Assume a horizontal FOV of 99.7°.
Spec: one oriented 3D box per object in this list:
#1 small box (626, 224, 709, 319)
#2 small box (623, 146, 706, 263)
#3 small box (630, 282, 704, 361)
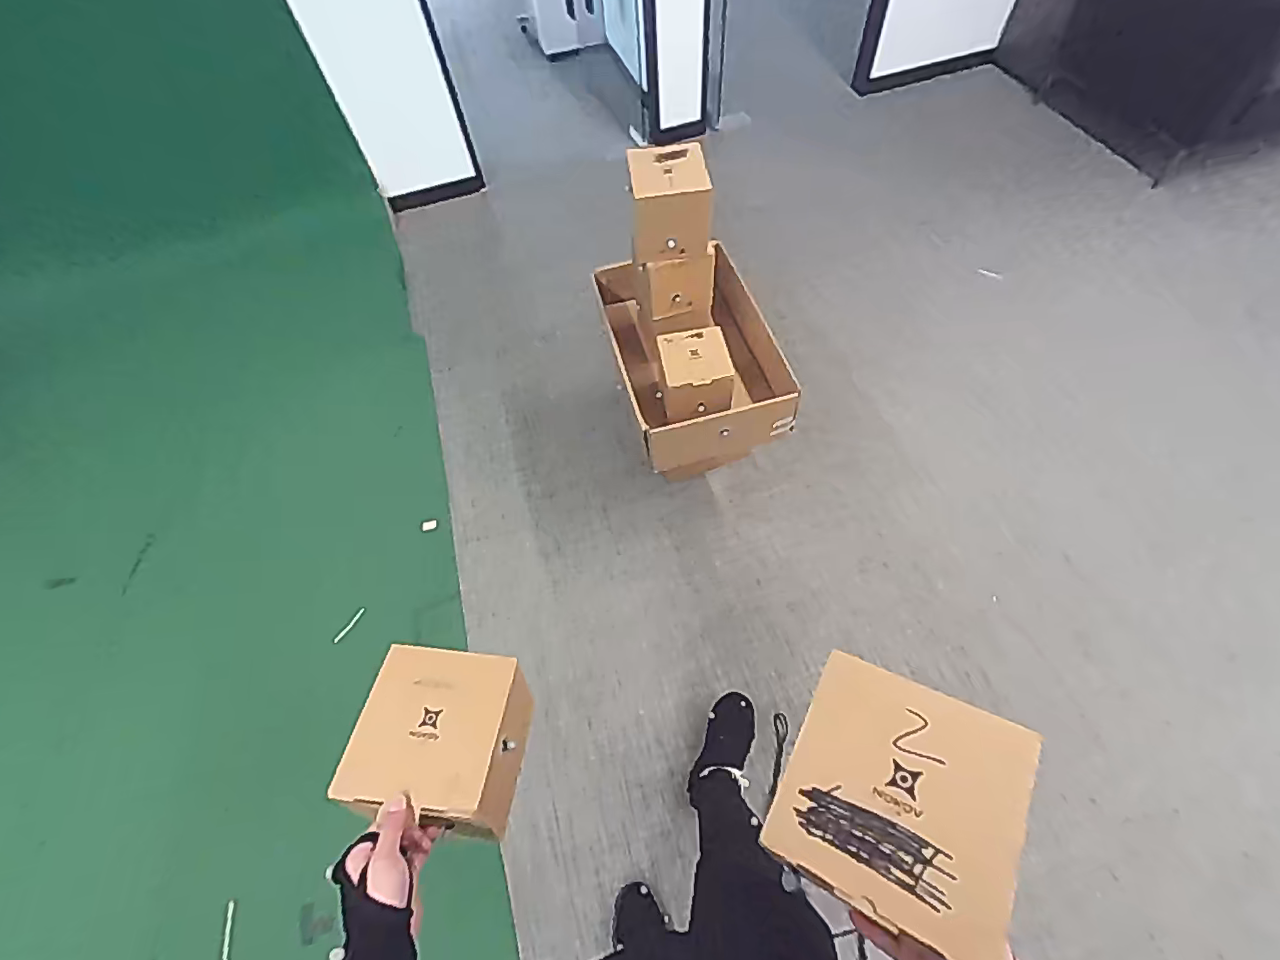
[{"bbox_3d":[0.065,-0.545,1.381,0.168,0.176,0.179,-16,62,-6],"label":"small box"},{"bbox_3d":[0.051,-0.628,1.240,0.168,0.176,0.179,-7,62,-1],"label":"small box"},{"bbox_3d":[0.073,-0.468,1.524,0.168,0.176,0.179,-15,61,-5],"label":"small box"}]
